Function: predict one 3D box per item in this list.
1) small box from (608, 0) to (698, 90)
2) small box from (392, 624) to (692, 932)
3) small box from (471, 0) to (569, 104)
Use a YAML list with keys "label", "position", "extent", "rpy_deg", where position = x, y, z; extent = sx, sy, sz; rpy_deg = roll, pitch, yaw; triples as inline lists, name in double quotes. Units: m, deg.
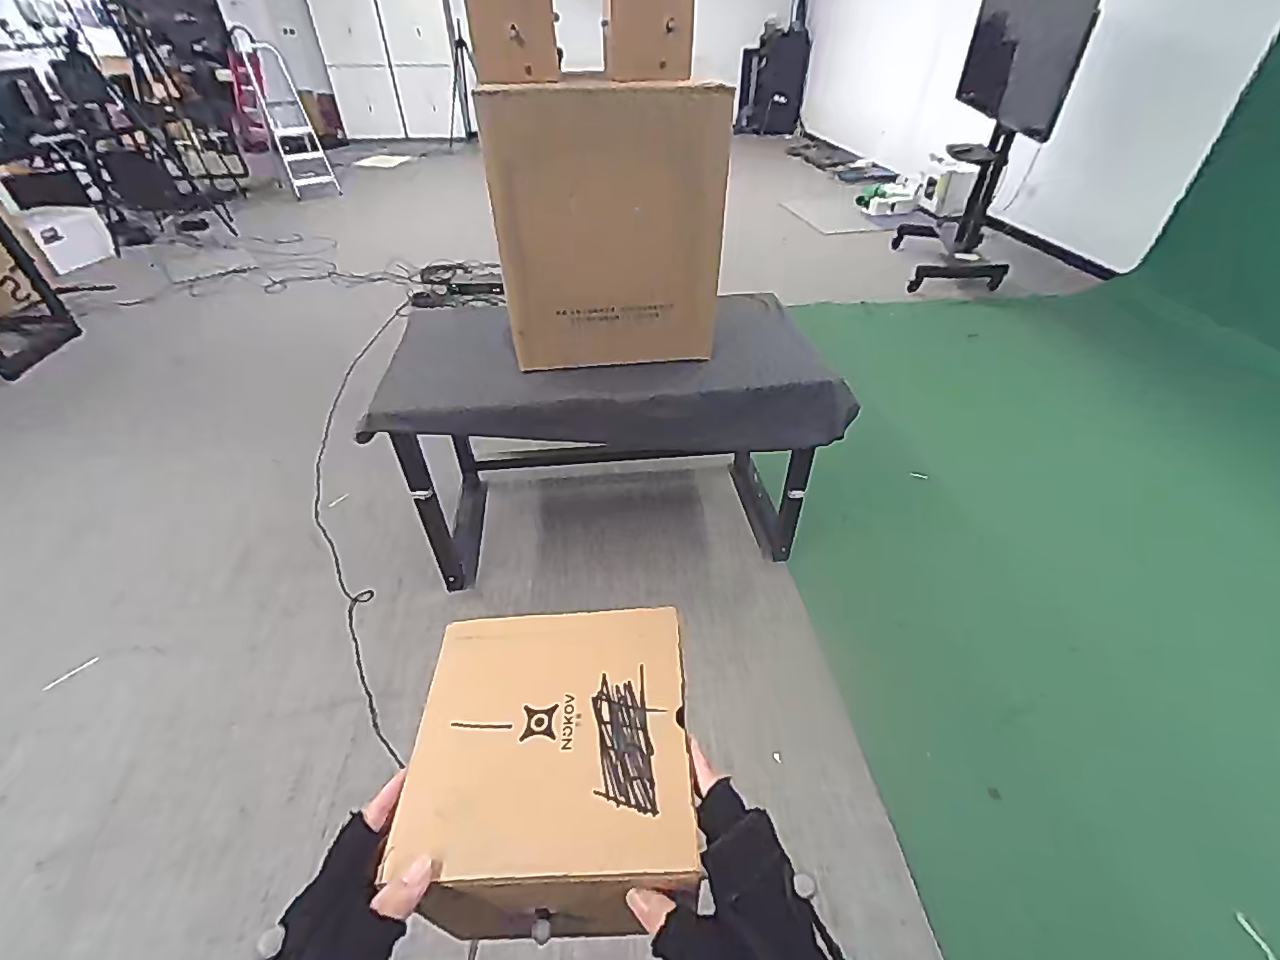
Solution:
- label: "small box"
  position: [0.024, -0.923, 1.127]
  extent: [0.168, 0.176, 0.179]
  rpy_deg: [-5, 41, -7]
- label: "small box"
  position: [-0.054, 0.230, 0.421]
  extent: [0.179, 0.176, 0.168]
  rpy_deg: [-2, 41, 2]
- label: "small box"
  position: [-0.244, -0.890, 1.118]
  extent: [0.168, 0.176, 0.179]
  rpy_deg: [-9, 42, -7]
